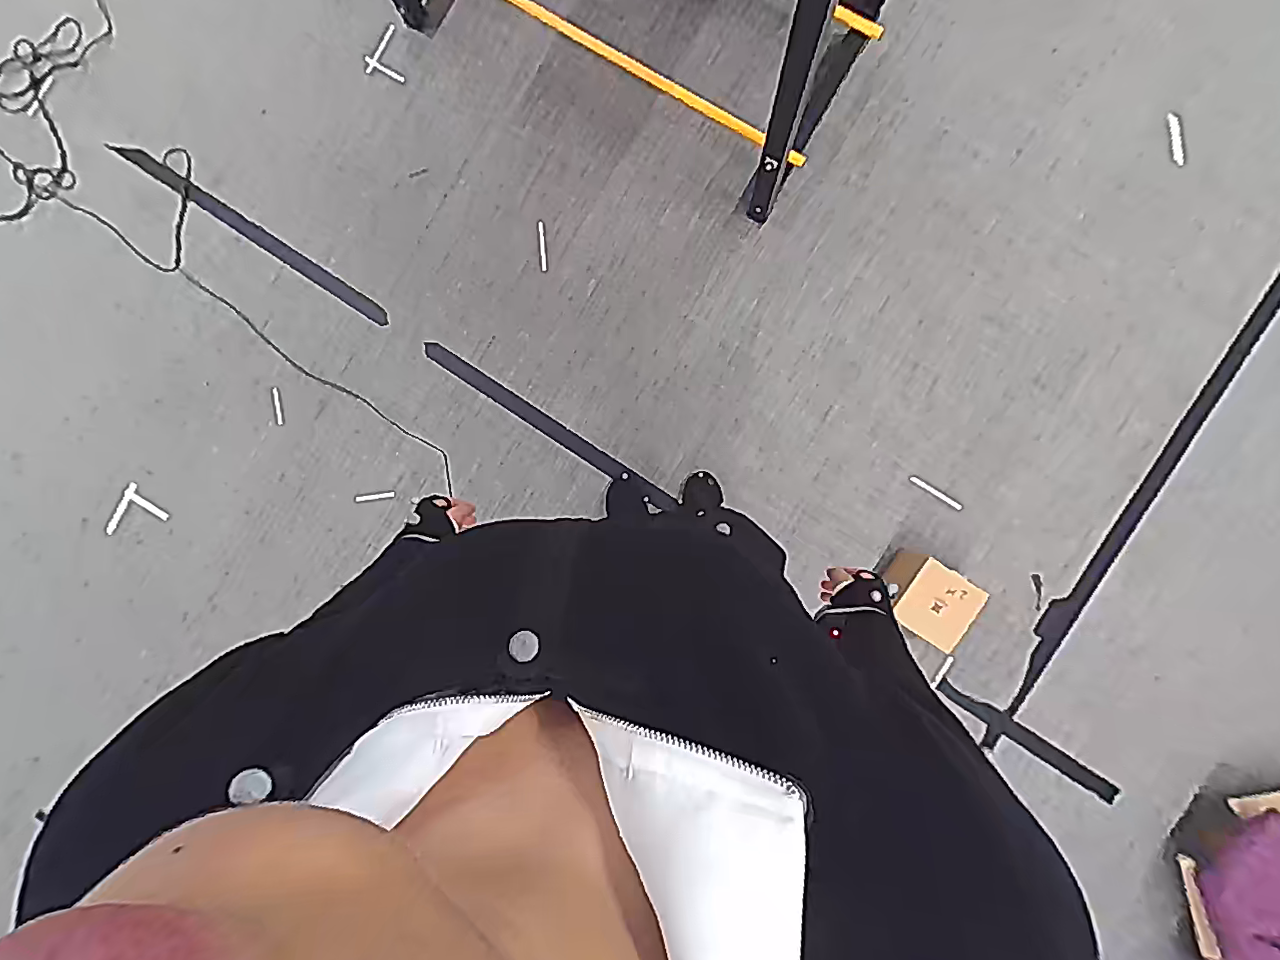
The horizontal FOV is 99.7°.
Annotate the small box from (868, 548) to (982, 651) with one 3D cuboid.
[{"bbox_3d":[0.705,0.294,1.368,0.168,0.176,0.179,34,92,4],"label":"small box"}]
